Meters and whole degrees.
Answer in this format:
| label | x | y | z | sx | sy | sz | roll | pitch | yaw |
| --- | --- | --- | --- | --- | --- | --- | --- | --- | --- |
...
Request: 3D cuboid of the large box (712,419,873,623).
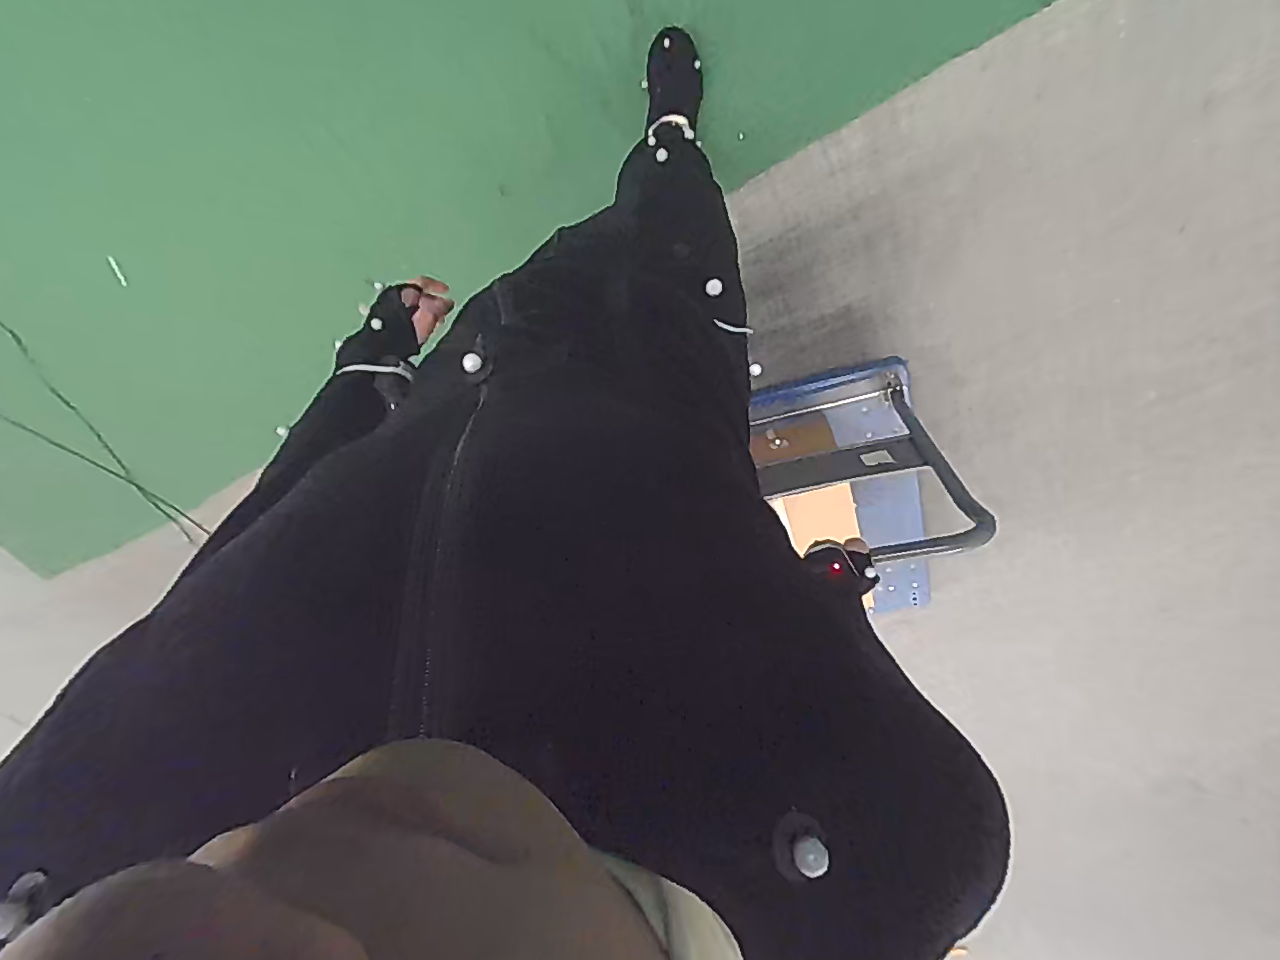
| label | x | y | z | sx | sy | sz | roll | pitch | yaw |
| --- | --- | --- | --- | --- | --- | --- | --- | --- | --- |
| large box | 0.393 | 0.109 | 1.431 | 0.320 | 0.320 | 0.408 | -13 | 121 | 17 |
